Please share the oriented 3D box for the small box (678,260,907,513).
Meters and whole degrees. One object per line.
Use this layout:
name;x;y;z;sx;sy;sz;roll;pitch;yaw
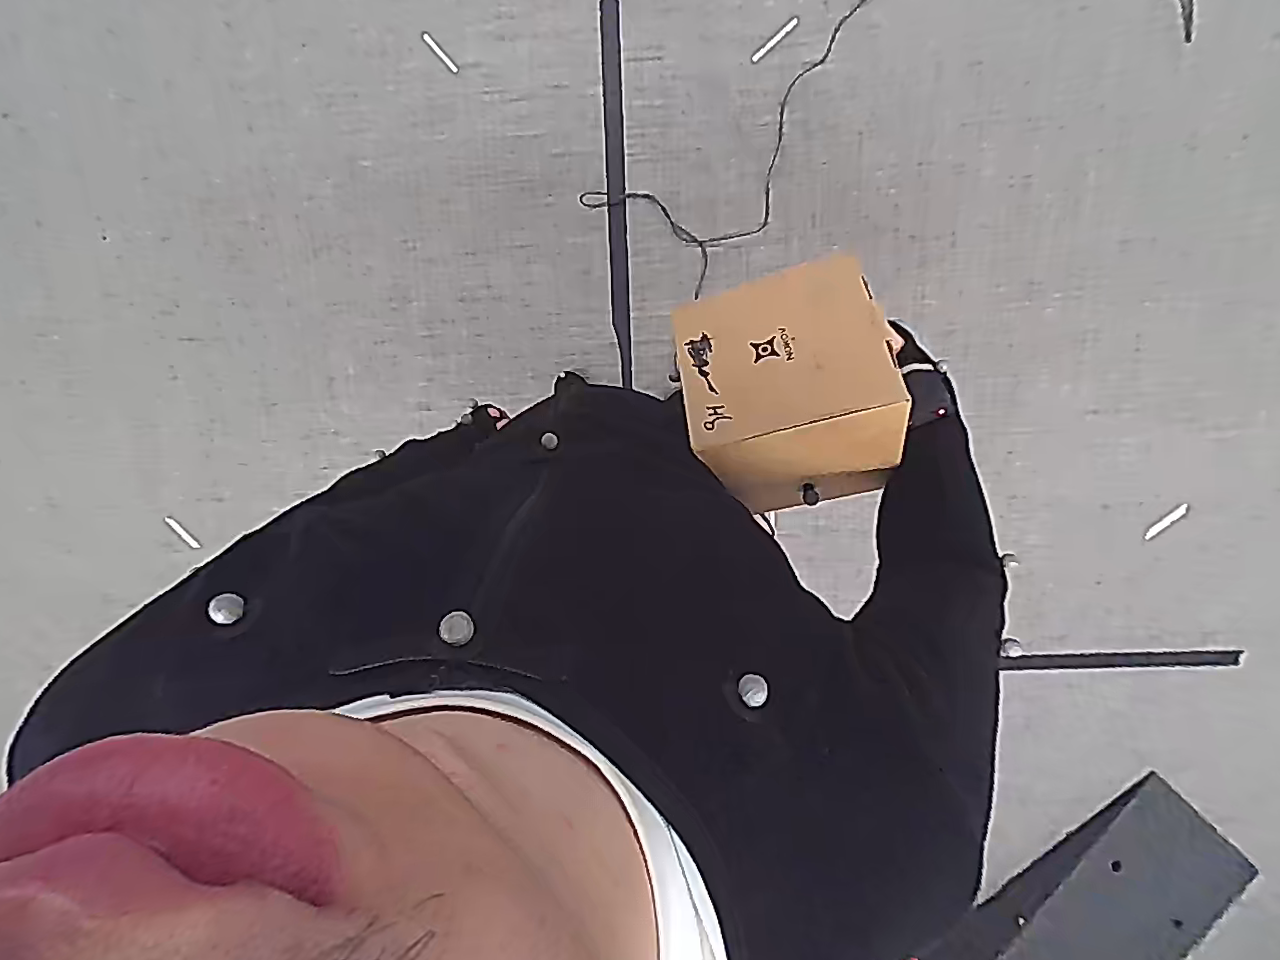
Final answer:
small box;0.150;-0.082;0.554;0.179;0.176;0.168;-13;61;15
